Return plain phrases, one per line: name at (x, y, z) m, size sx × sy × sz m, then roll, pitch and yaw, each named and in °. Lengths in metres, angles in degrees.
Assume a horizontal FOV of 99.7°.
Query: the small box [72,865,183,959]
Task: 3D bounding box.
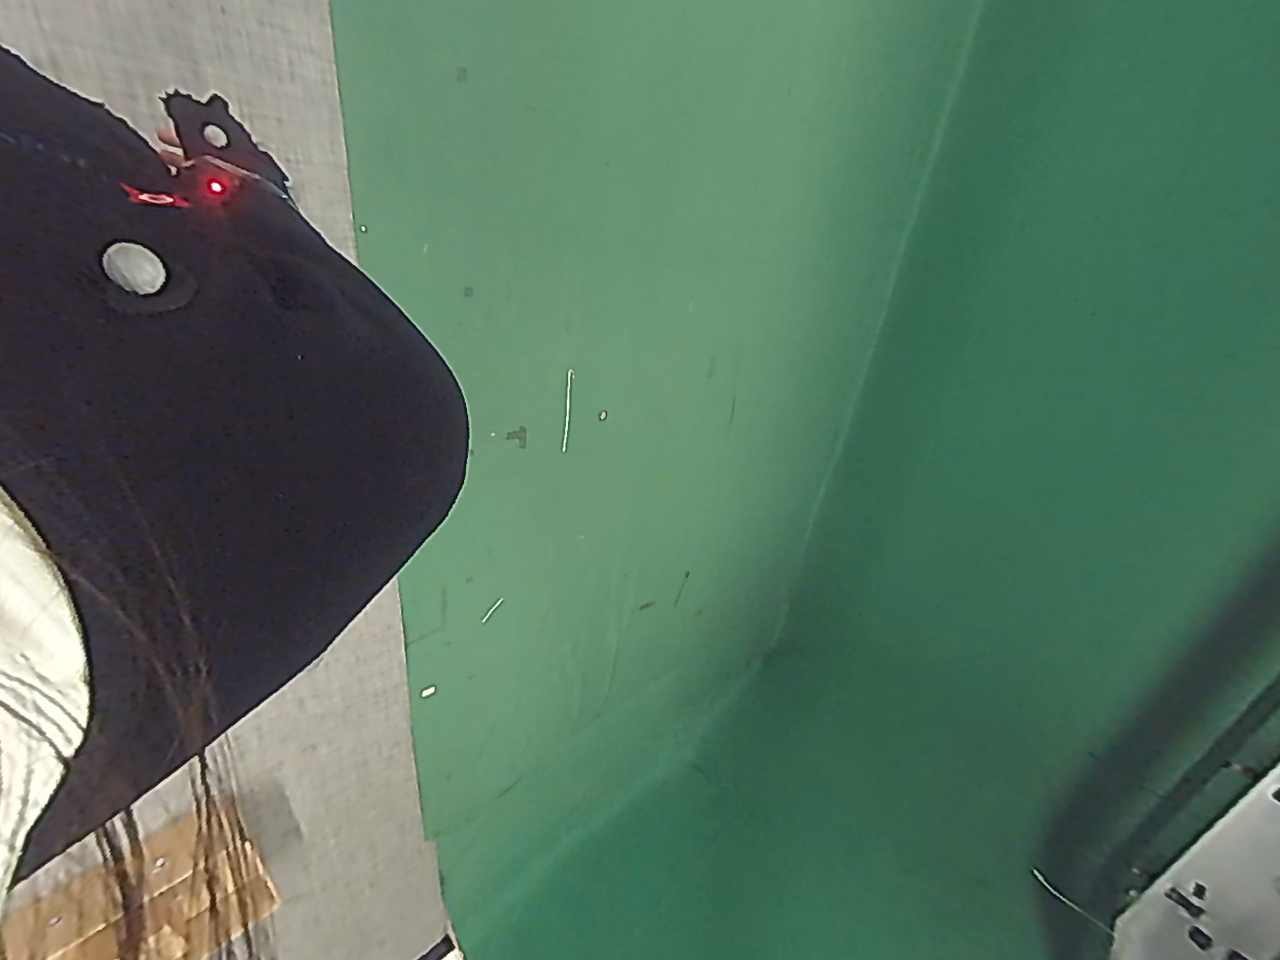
small box at (-1.391, 1.209, 1.465) m, size 0.179 × 0.176 × 0.168 m, roll -24°, pitch 133°, yaw -41°
